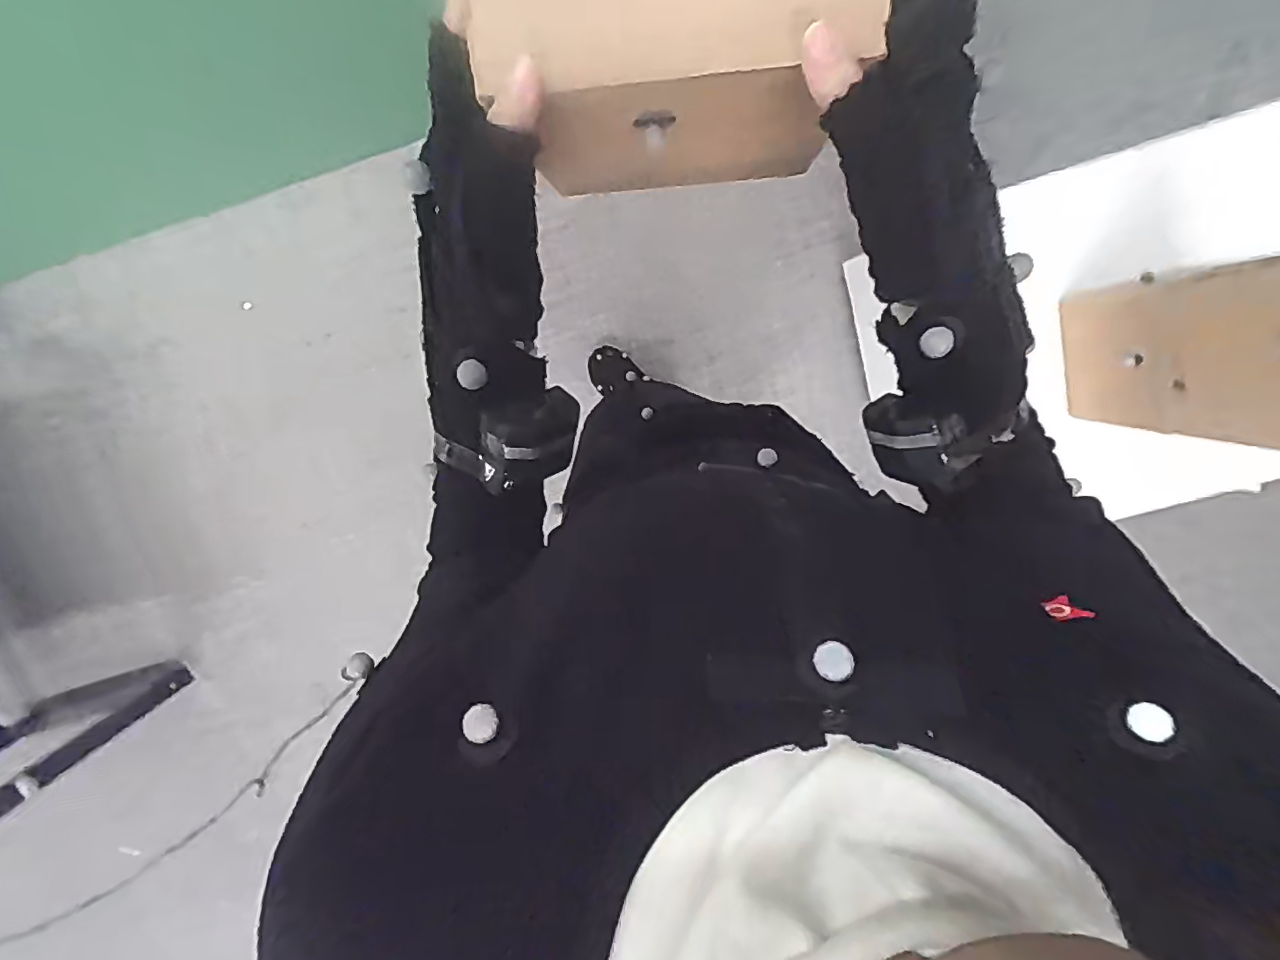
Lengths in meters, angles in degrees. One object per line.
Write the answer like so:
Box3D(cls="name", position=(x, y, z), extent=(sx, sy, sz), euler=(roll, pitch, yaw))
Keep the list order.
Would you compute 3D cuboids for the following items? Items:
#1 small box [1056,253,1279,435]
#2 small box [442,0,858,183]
Box3D(cls="small box", position=(0.675, -0.170, 0.693), extent=(0.168, 0.176, 0.179), euler=(-14, 103, 6))
Box3D(cls="small box", position=(0.005, -0.275, 0.289), extent=(0.179, 0.176, 0.168), euler=(-3, 104, 5))
